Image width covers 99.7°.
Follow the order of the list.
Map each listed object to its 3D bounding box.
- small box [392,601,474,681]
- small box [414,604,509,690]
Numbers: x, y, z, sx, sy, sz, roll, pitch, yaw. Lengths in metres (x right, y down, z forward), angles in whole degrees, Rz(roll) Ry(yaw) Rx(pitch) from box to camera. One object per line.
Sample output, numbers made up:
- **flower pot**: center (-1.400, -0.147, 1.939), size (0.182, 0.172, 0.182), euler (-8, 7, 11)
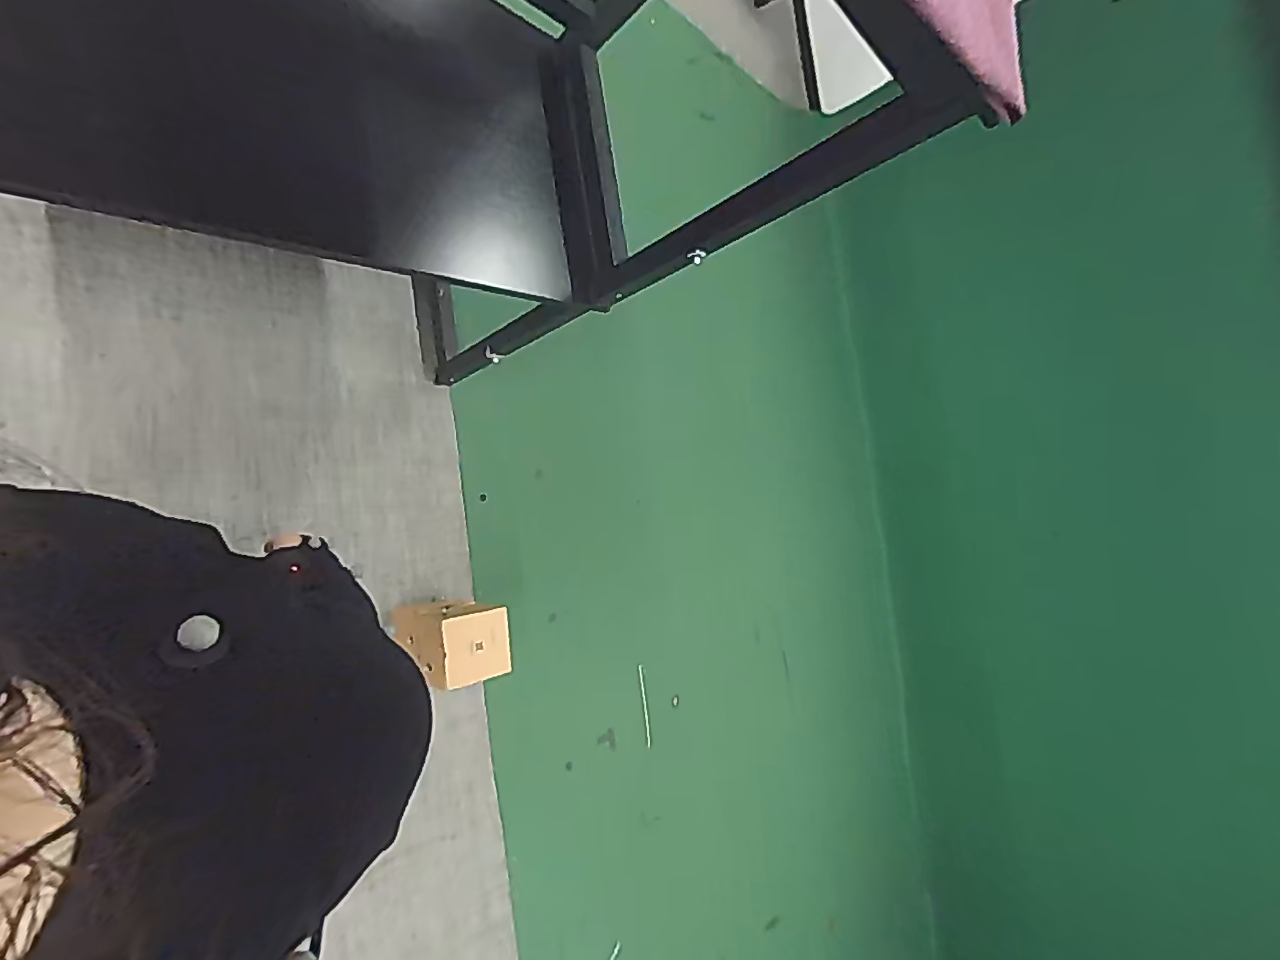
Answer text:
- **small box**: center (-0.562, 0.429, 1.474), size (0.168, 0.176, 0.179), euler (-1, 85, -45)
- **small box**: center (-0.453, 0.410, 1.356), size (0.179, 0.176, 0.168), euler (-2, 86, -46)
